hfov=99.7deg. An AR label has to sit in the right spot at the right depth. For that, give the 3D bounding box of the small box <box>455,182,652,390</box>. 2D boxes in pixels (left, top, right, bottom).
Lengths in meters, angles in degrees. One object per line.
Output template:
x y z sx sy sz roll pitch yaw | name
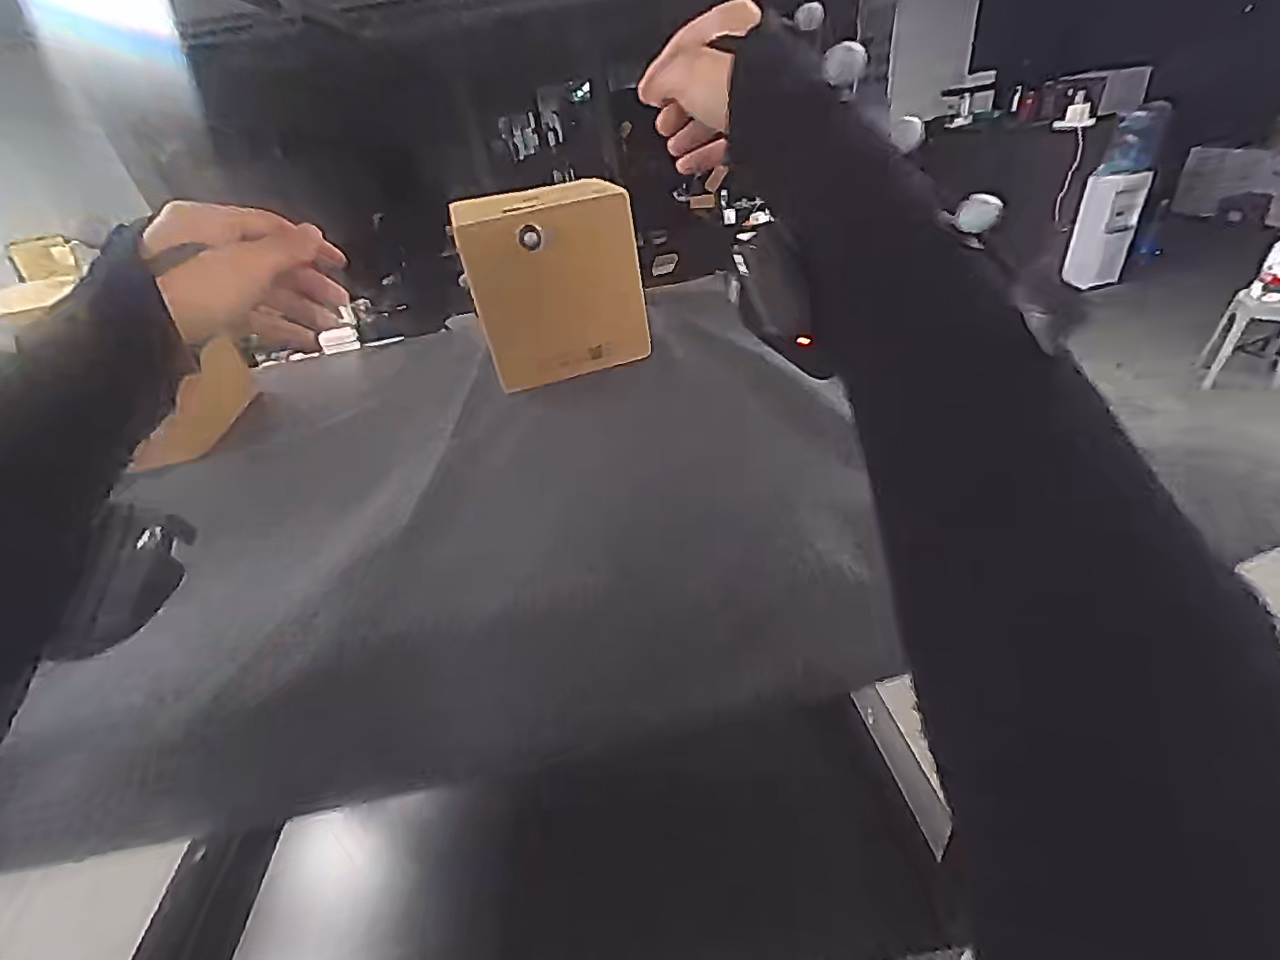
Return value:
-0.096 -0.218 0.599 0.168 0.176 0.179 -17 35 -9 | small box
